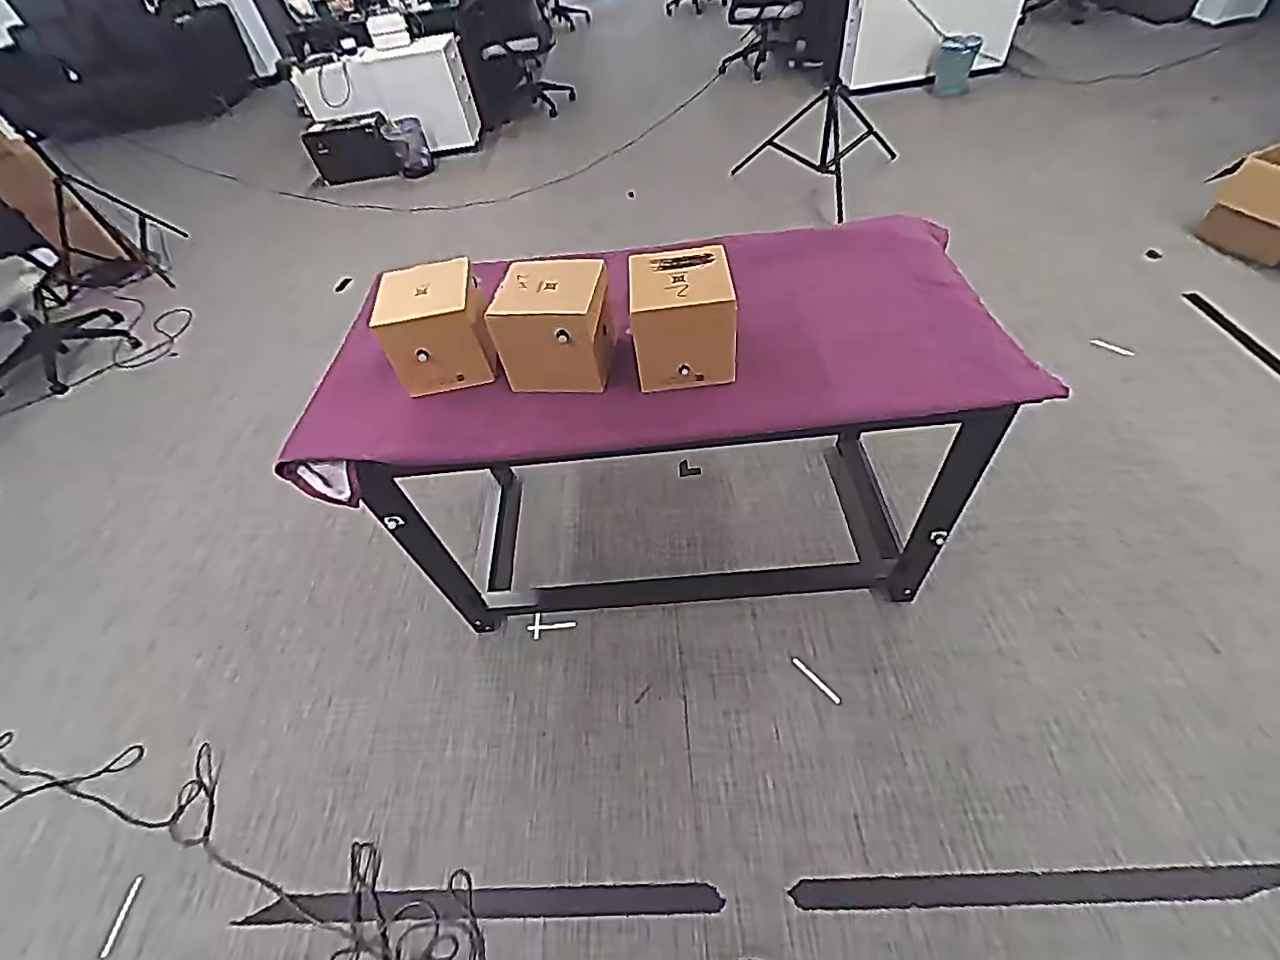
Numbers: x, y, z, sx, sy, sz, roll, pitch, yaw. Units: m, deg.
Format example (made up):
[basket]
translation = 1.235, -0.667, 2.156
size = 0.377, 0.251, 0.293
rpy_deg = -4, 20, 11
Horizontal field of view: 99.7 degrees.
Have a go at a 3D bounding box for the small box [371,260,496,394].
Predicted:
[small box]
translation = -0.379, -0.281, 1.024
size = 0.168, 0.176, 0.179
rpy_deg = -12, 51, -1
